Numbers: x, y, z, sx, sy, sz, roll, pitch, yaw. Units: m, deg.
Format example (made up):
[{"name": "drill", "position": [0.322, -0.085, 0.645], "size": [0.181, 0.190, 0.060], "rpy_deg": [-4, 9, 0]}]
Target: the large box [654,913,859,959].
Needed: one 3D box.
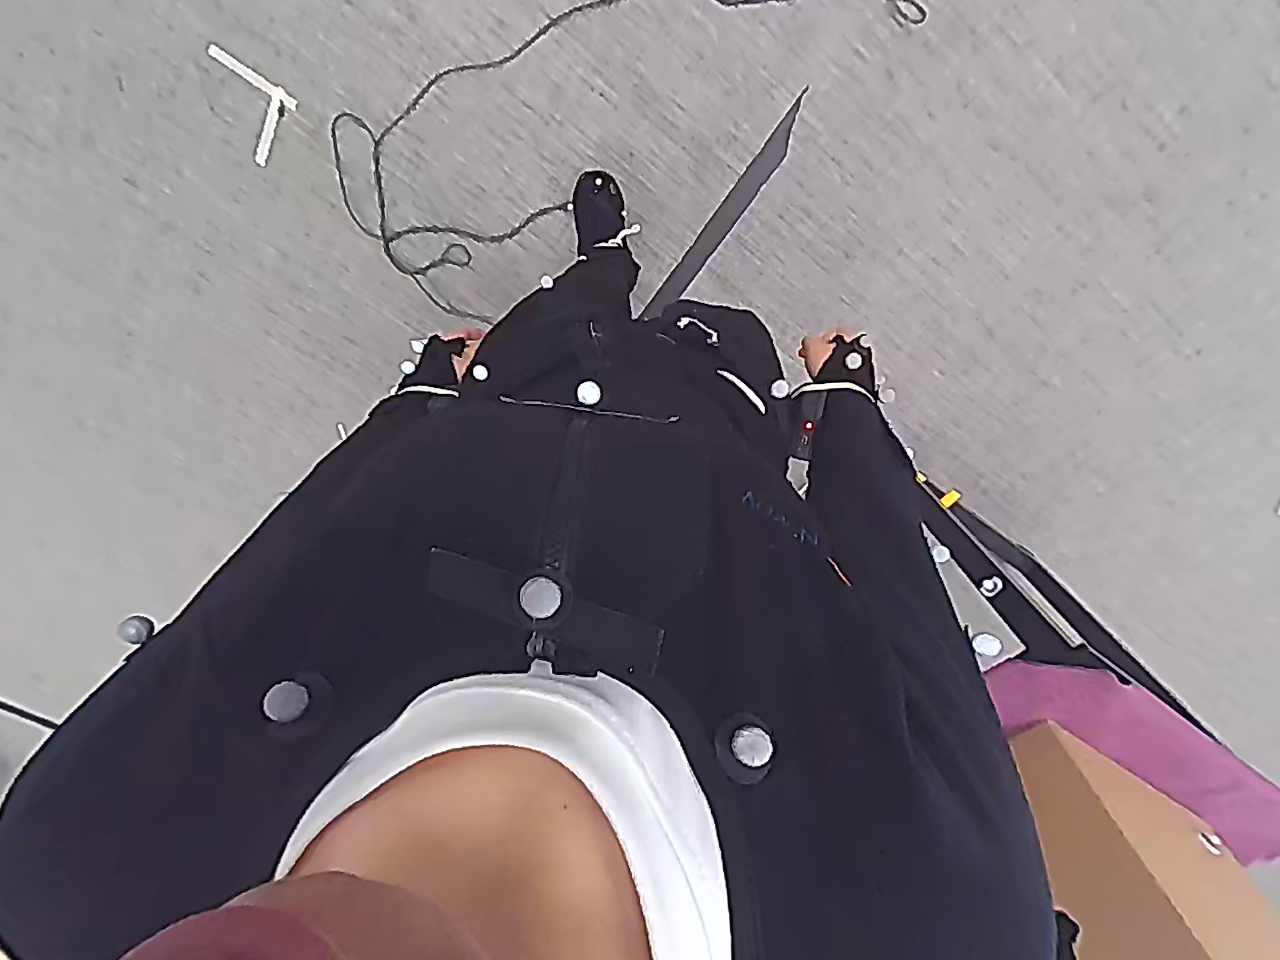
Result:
[{"name": "large box", "position": [0.242, 1.113, 1.030], "size": [0.408, 0.320, 0.320], "rpy_deg": [32, 114, -15]}]
